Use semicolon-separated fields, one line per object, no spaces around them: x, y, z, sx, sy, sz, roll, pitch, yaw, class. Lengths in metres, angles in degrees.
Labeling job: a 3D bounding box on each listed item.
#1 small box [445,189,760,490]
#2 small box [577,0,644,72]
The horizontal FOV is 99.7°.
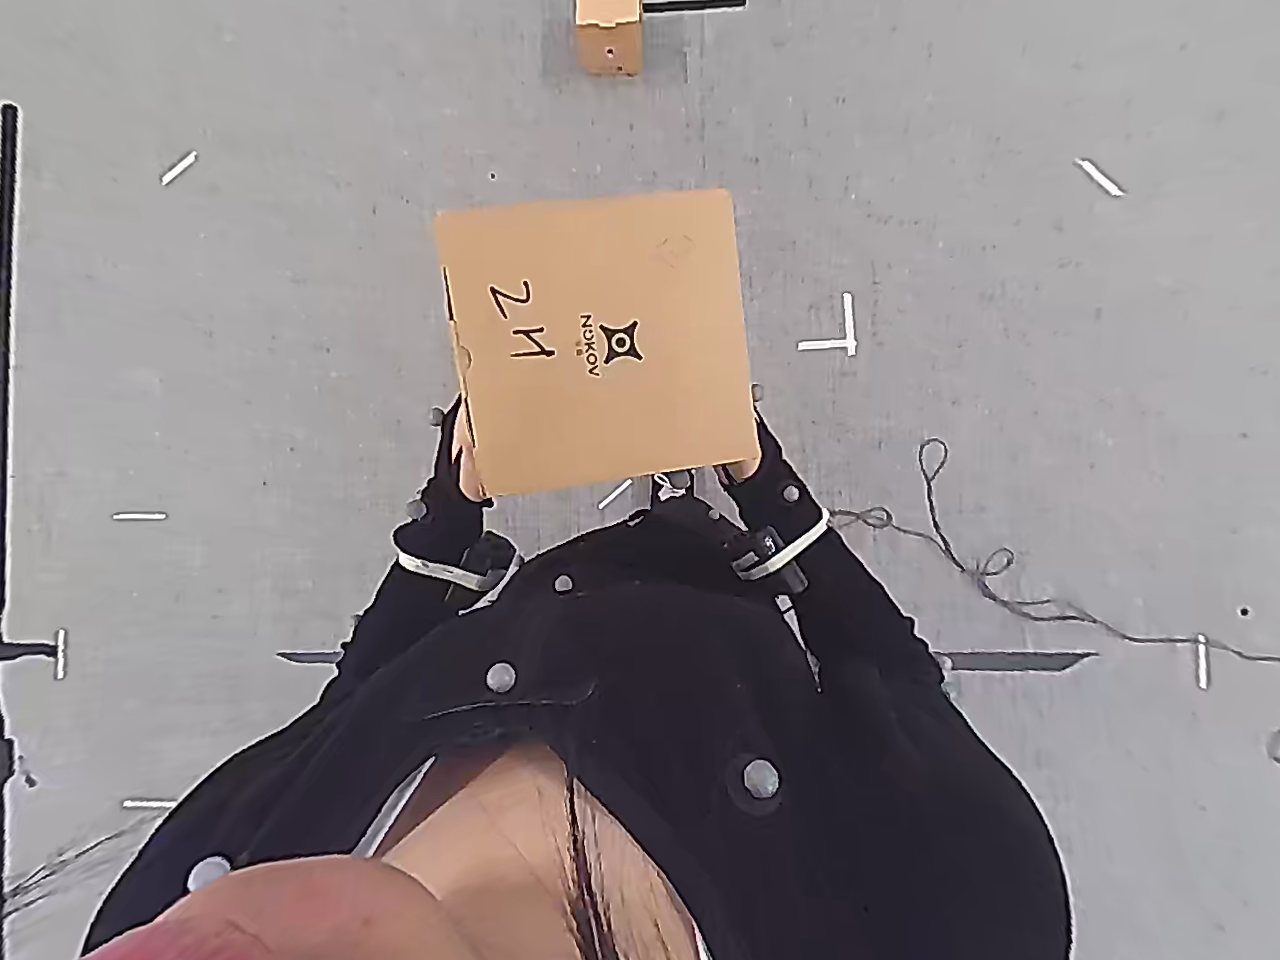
-0.029;-0.093;0.401;0.179;0.176;0.168;-8;97;-7;small box
-0.075;-1.243;1.460;0.168;0.176;0.179;1;89;2;small box
